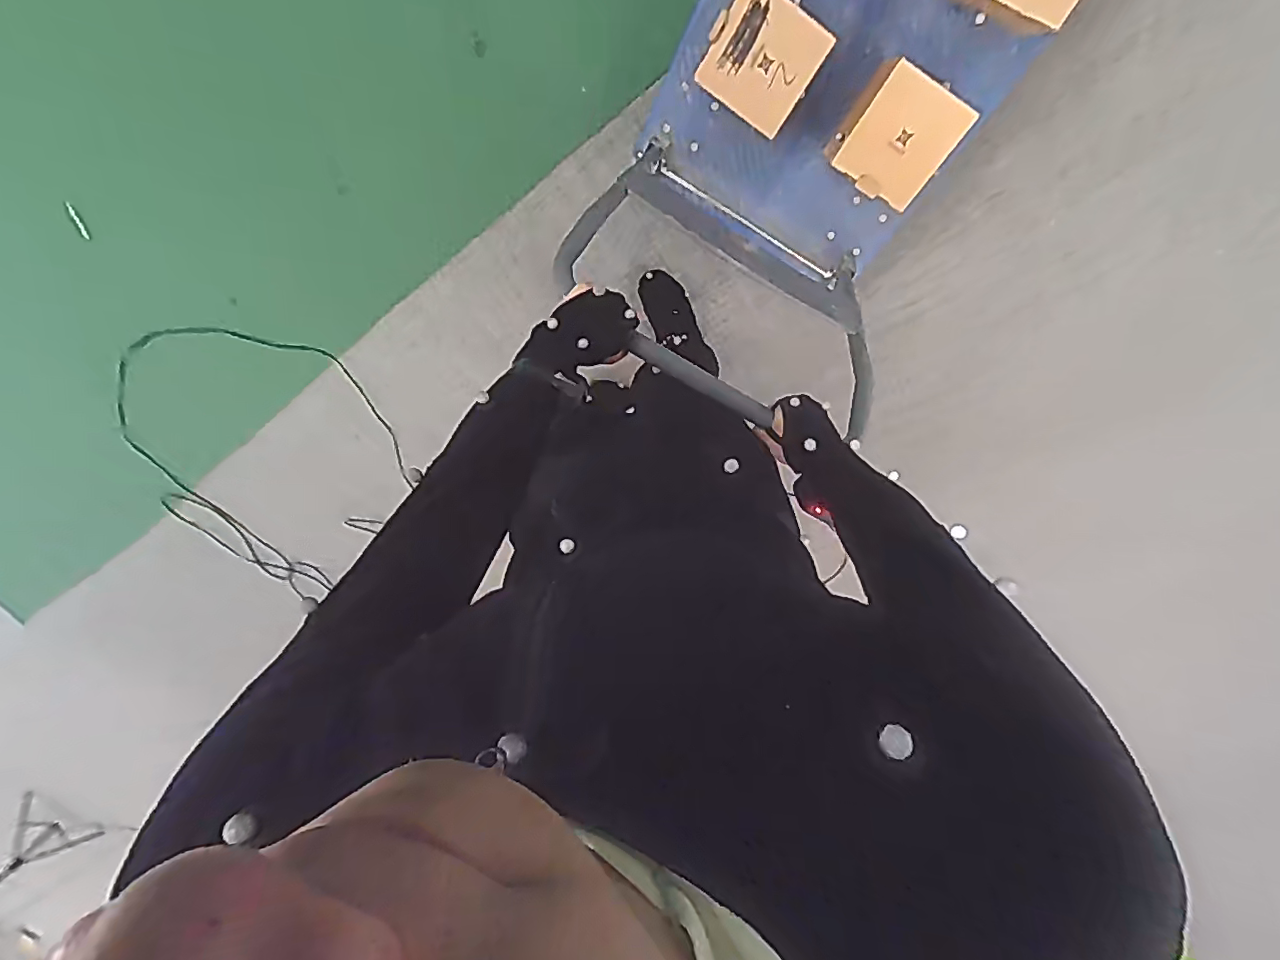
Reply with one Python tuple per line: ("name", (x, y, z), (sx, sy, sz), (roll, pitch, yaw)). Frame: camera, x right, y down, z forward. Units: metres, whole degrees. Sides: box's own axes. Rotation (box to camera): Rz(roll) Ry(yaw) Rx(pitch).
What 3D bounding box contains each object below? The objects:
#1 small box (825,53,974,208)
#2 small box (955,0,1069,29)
("small box", (0.460, -0.645, 0.996), (0.168, 0.176, 0.179), (28, 129, -9))
("small box", (0.593, -0.827, 0.821), (0.168, 0.176, 0.179), (23, 130, -5))
